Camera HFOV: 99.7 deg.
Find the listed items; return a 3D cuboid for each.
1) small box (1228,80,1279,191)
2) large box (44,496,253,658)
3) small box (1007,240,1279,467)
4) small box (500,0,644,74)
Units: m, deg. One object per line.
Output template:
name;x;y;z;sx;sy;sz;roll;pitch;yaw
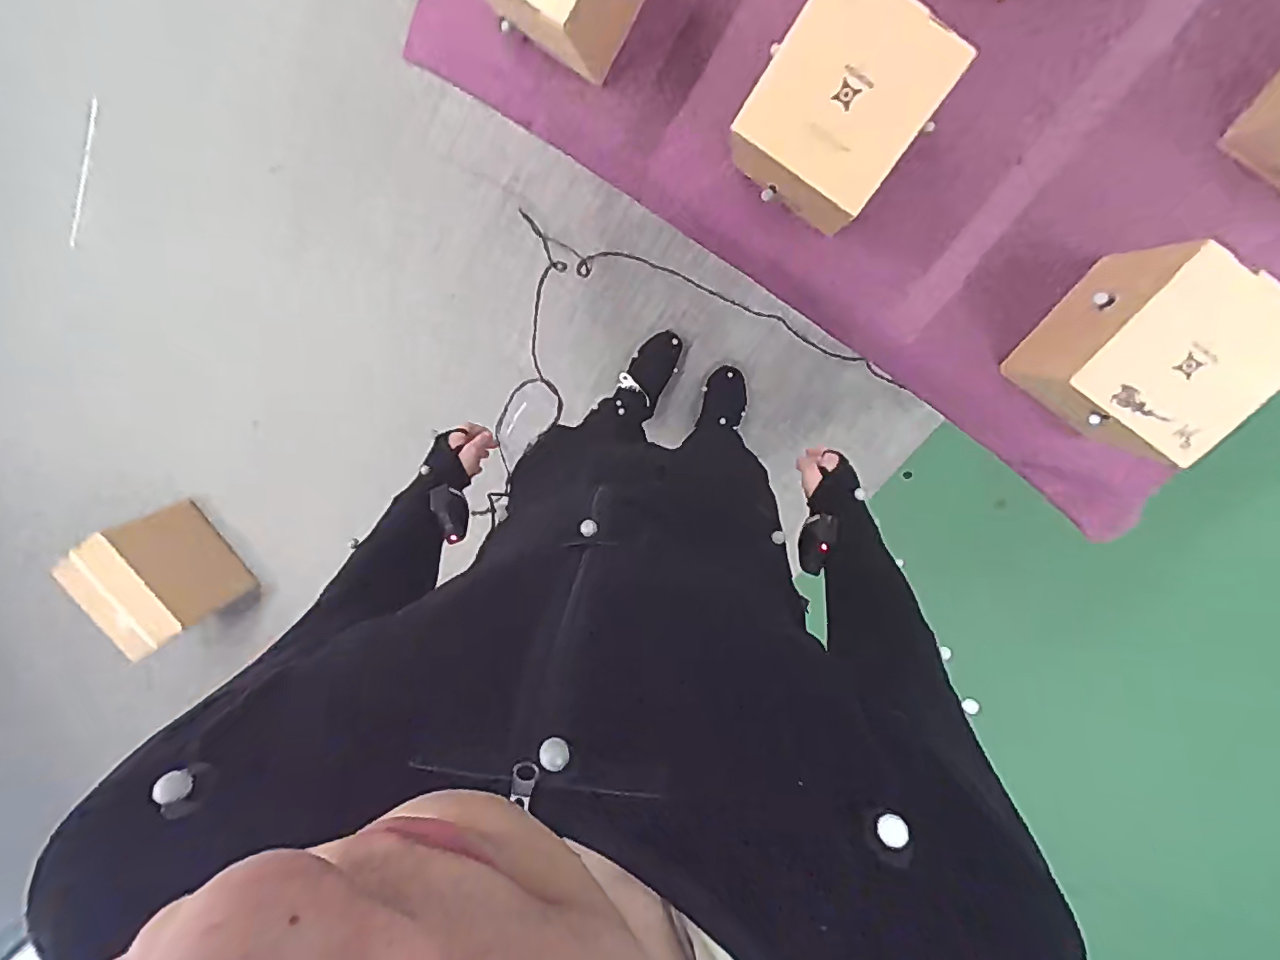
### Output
small box;0.770;-0.387;0.526;0.168;0.176;0.179;35;111;1
large box;-1.712;0.332;1.912;0.320;0.320;0.408;-29;102;18
small box;0.591;-0.147;0.639;0.168;0.176;0.179;37;108;-2
small box;-0.081;-0.610;0.604;0.168;0.176;0.179;34;110;-3
